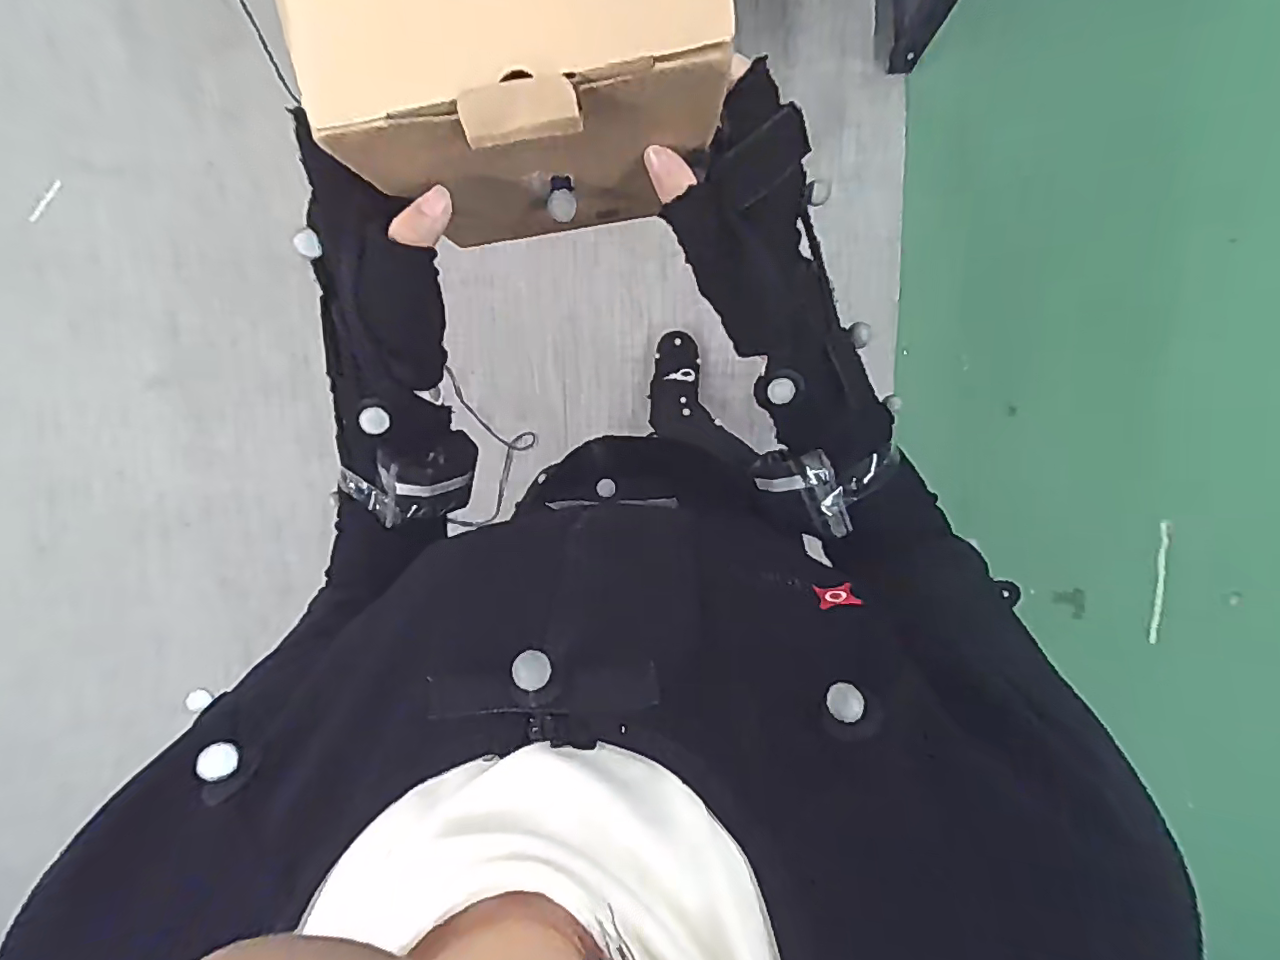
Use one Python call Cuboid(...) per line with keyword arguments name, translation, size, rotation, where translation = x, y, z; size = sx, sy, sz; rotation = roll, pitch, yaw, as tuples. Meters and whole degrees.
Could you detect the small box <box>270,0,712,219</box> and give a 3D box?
Cuboid(name="small box", translation=(-0.060, -0.246, 0.268), size=(0.168, 0.176, 0.179), rotation=(-8, 100, 3))
